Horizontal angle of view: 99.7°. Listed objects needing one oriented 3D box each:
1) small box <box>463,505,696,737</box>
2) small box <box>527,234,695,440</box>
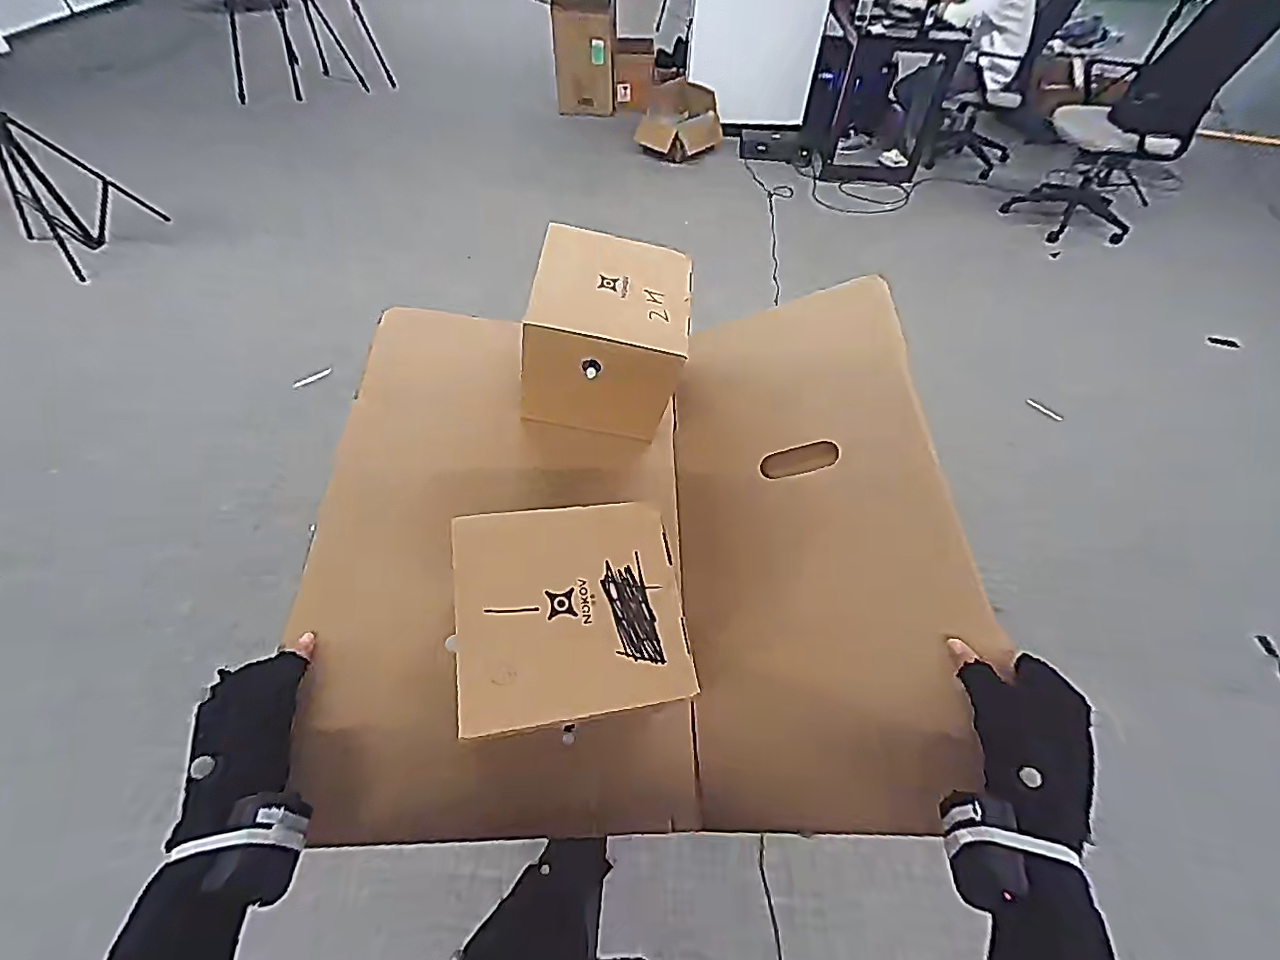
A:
[{"bbox_3d":[-0.067,0.136,0.505,0.179,0.176,0.168,-4,63,-14],"label":"small box"},{"bbox_3d":[-0.041,-0.169,0.681,0.179,0.176,0.168,11,60,-8],"label":"small box"}]
